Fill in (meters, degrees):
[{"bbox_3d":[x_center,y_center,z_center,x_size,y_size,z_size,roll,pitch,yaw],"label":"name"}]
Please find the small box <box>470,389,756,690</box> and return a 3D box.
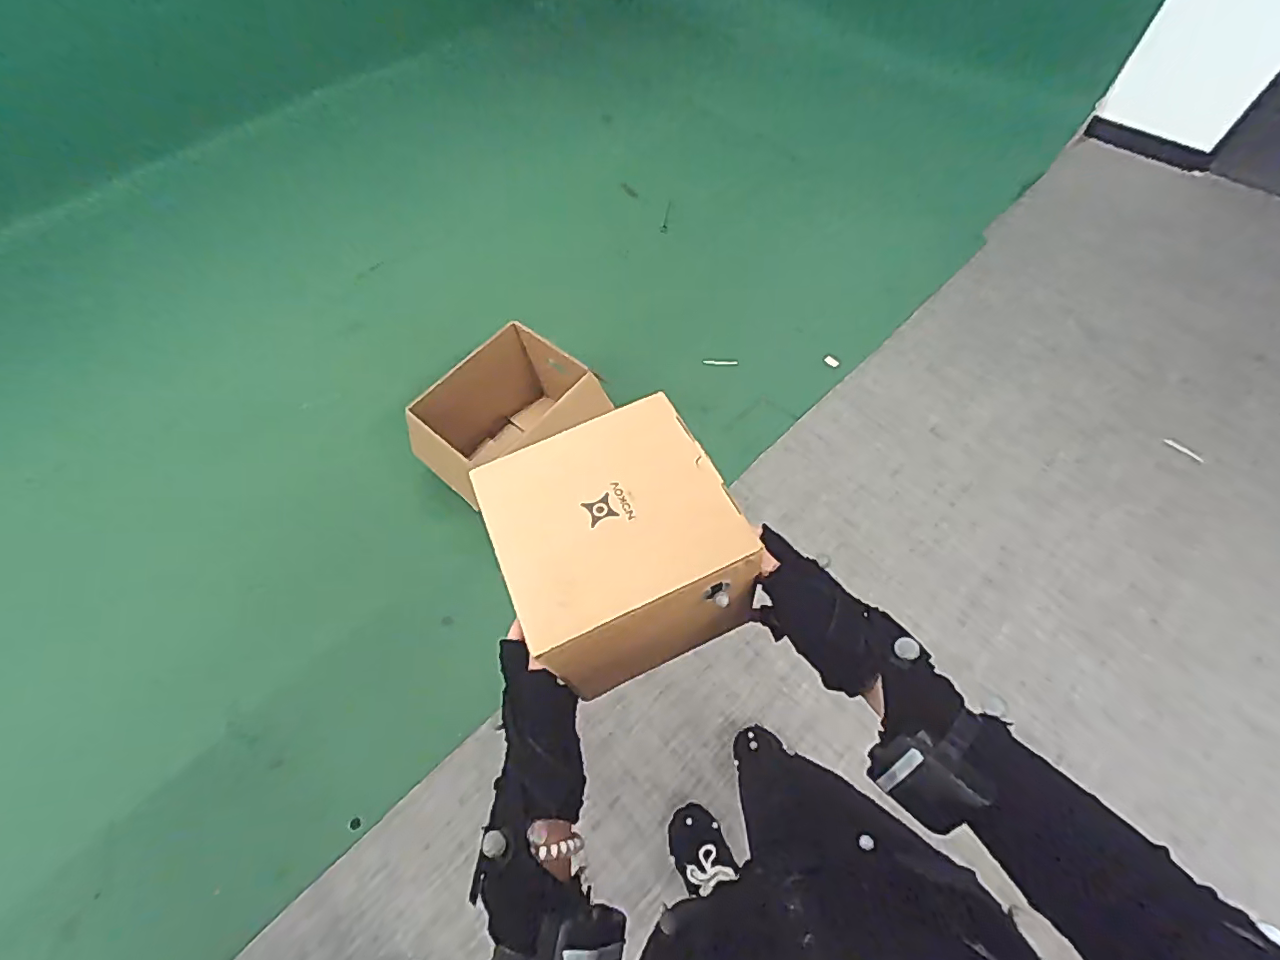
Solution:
[{"bbox_3d":[-0.018,0.059,0.469,0.179,0.176,0.168,-24,59,-8],"label":"small box"}]
